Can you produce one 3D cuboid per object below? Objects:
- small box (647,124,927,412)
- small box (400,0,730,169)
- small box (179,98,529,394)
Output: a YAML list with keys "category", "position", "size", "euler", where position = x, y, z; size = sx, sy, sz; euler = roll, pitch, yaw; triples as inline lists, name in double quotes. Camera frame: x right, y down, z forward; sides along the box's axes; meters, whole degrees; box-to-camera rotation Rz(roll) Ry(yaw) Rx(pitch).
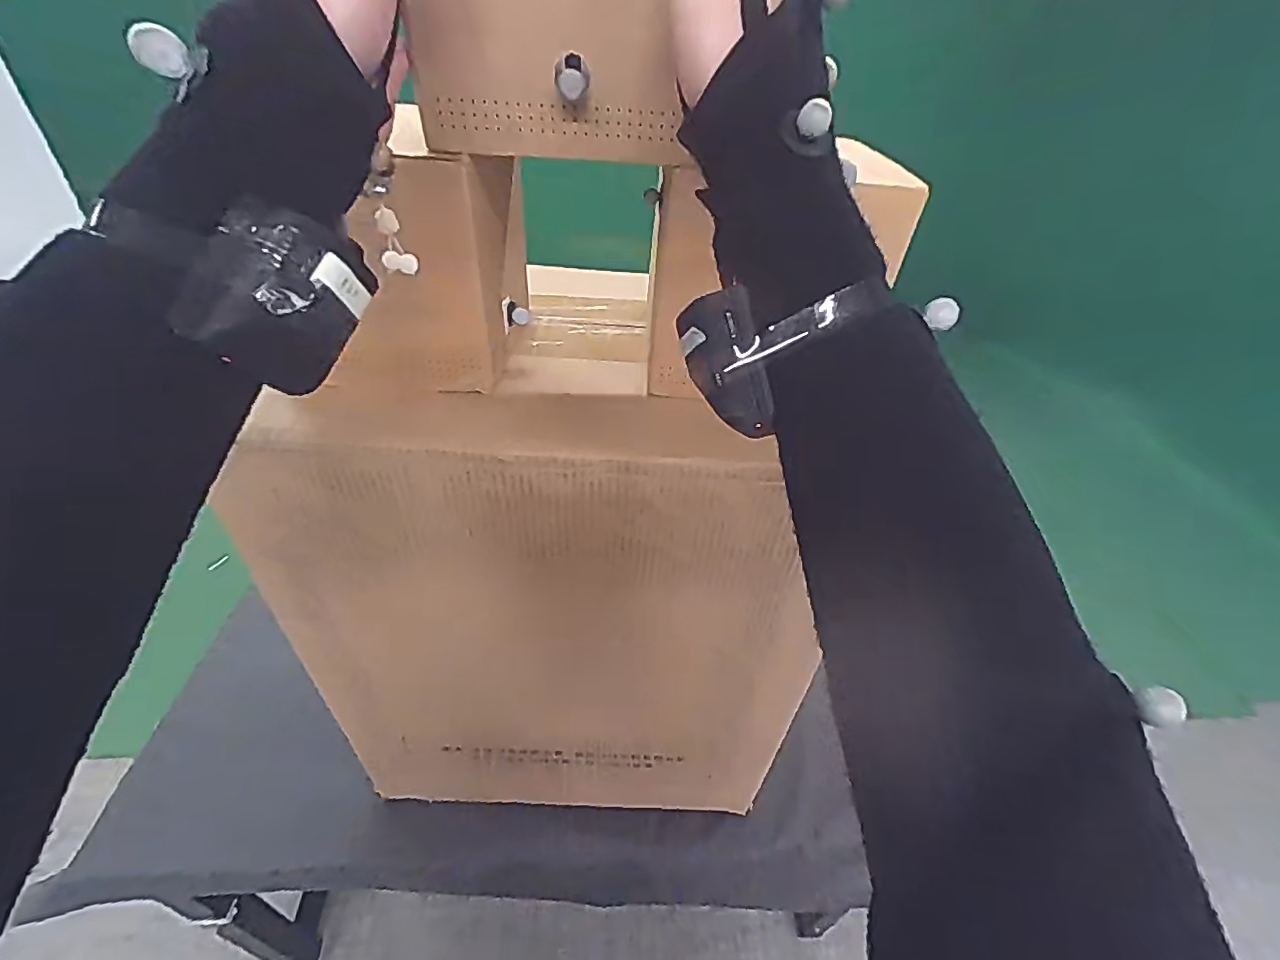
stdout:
- category: "small box"
  position: [0.095, -0.179, 0.453]
  size: [0.168, 0.176, 0.179]
  euler: [4, 43, -3]
- category: "small box"
  position: [-0.040, -0.305, 0.332]
  size: [0.179, 0.176, 0.168]
  euler: [2, 42, -6]
- category: "small box"
  position: [-0.191, -0.184, 0.430]
  size: [0.179, 0.176, 0.168]
  euler: [4, 43, -4]
